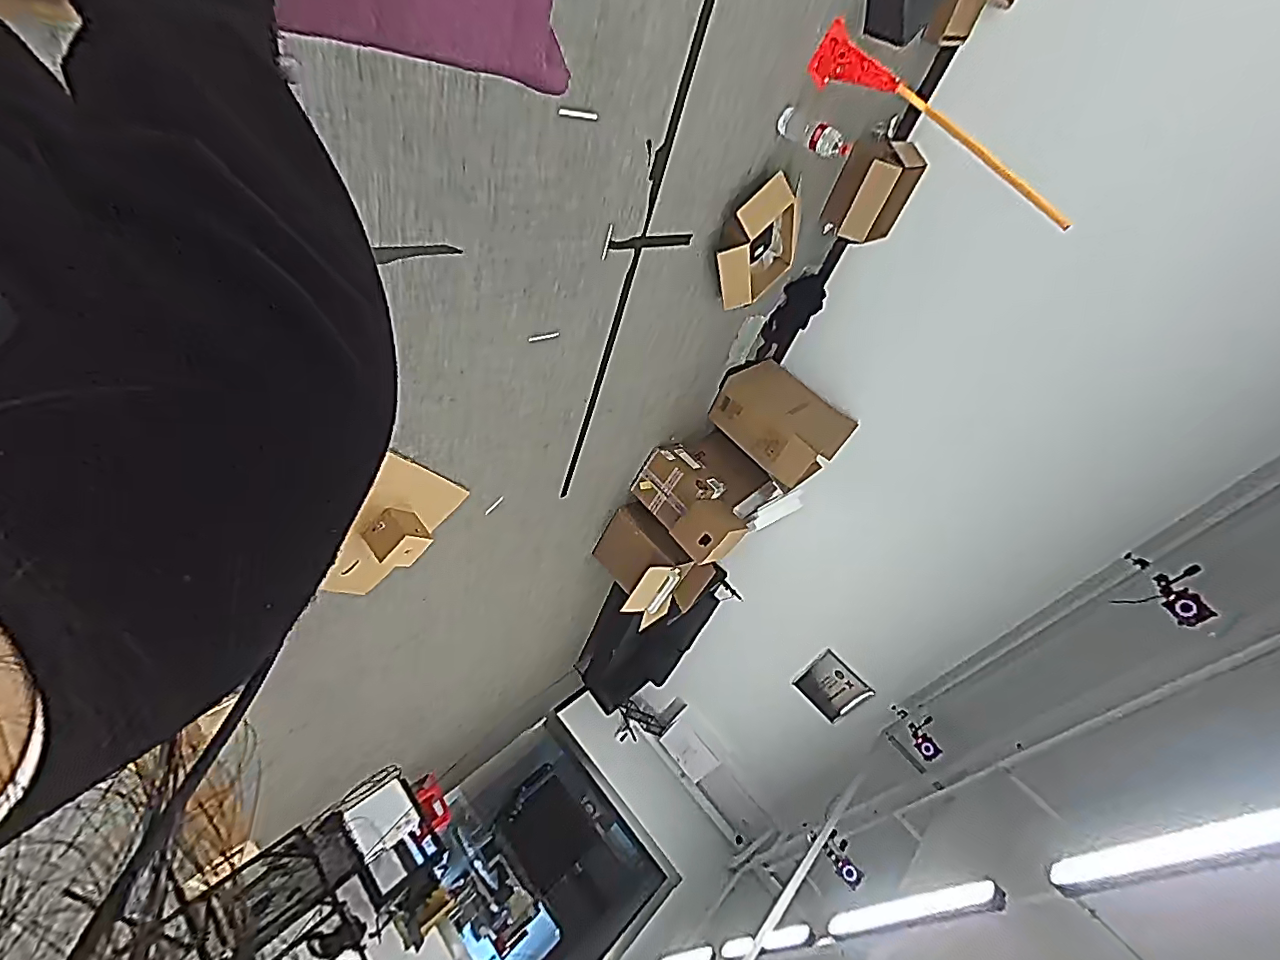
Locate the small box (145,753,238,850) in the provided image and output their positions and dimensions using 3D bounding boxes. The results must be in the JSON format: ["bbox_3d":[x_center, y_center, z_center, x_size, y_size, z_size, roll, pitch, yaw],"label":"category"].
[{"bbox_3d":[-1.373,0.976,1.657,0.168,0.176,0.179,-24,148,-42],"label":"small box"}]

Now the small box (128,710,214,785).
[{"bbox_3d":[-1.479,0.864,1.712,0.168,0.176,0.179,-22,149,-45],"label":"small box"}]

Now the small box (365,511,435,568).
[{"bbox_3d":[-1.015,0.252,2.283,0.168,0.176,0.179,-47,157,4],"label":"small box"}]
